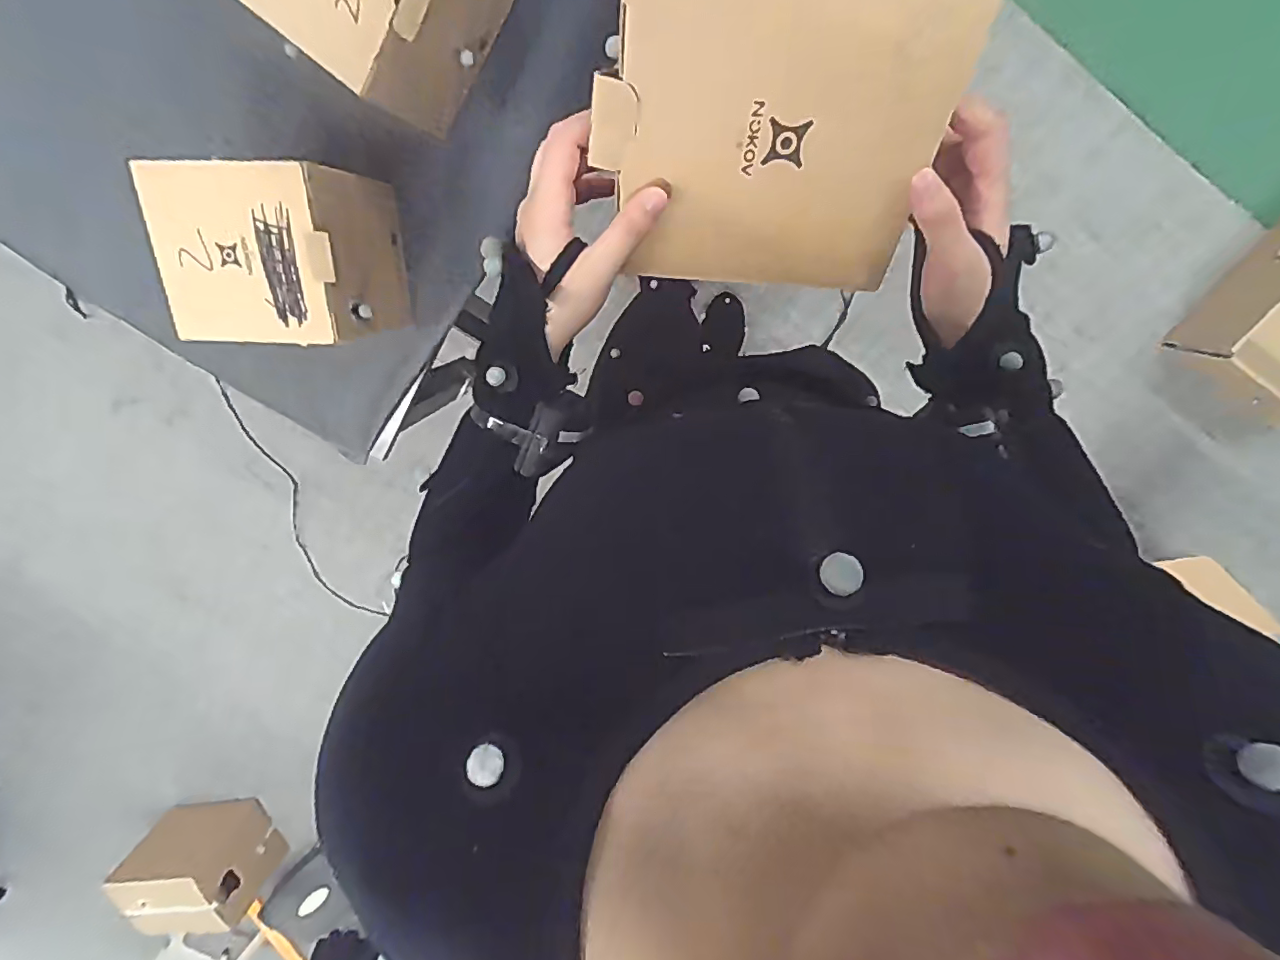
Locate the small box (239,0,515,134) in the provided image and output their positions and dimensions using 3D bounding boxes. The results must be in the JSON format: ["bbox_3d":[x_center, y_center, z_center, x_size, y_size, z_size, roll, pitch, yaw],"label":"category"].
[{"bbox_3d":[-0.250,-0.468,0.510,0.179,0.176,0.168,36,111,-8],"label":"small box"}]
